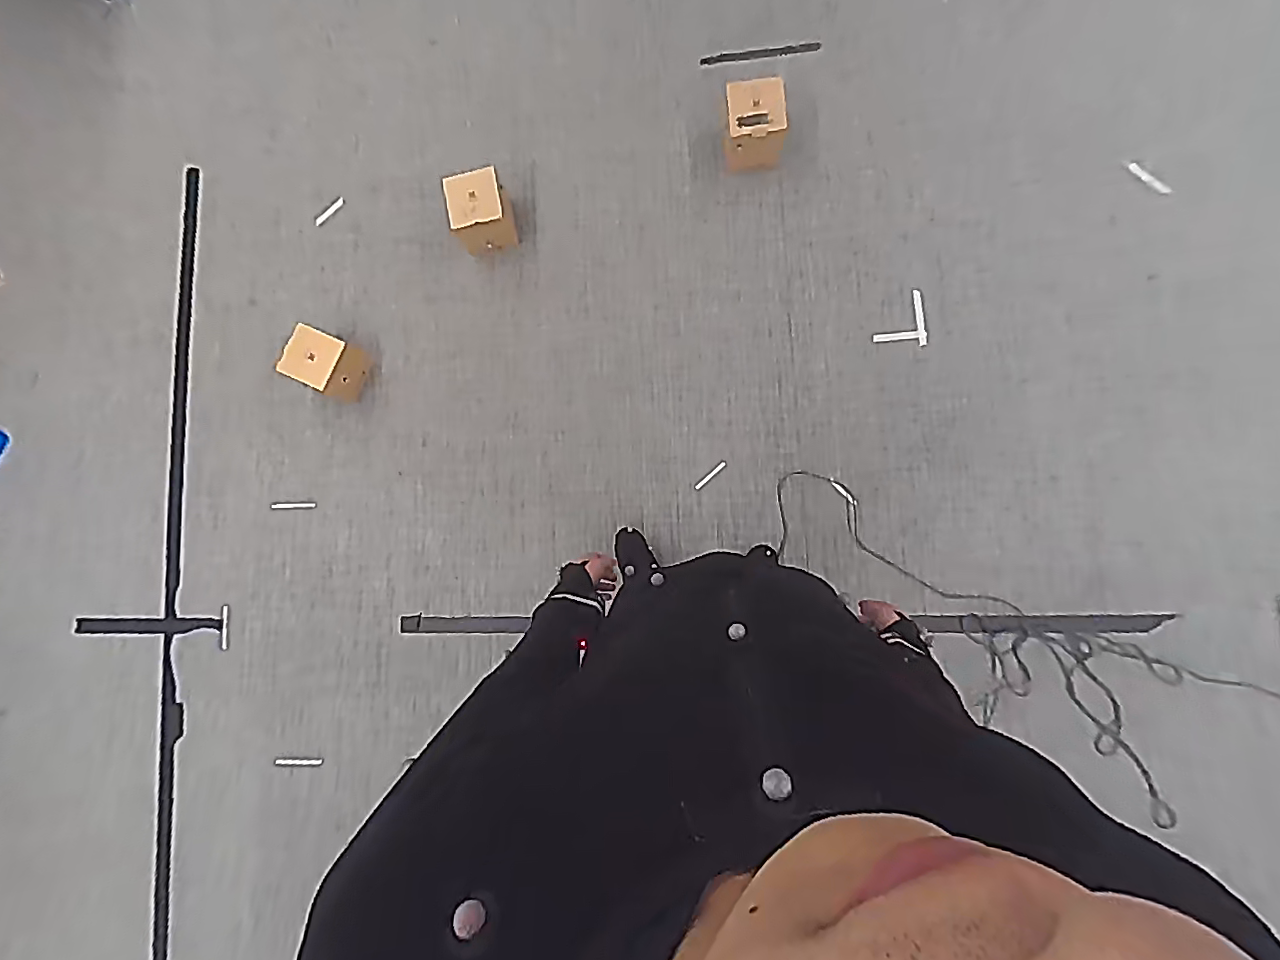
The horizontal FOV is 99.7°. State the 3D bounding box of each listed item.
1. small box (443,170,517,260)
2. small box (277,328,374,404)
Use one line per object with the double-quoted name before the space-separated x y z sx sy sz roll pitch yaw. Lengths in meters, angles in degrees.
"small box" -0.504 -0.838 1.723 0.168 0.176 0.179 -12 84 3
"small box" -0.988 -0.354 1.717 0.179 0.176 0.168 23 87 7
